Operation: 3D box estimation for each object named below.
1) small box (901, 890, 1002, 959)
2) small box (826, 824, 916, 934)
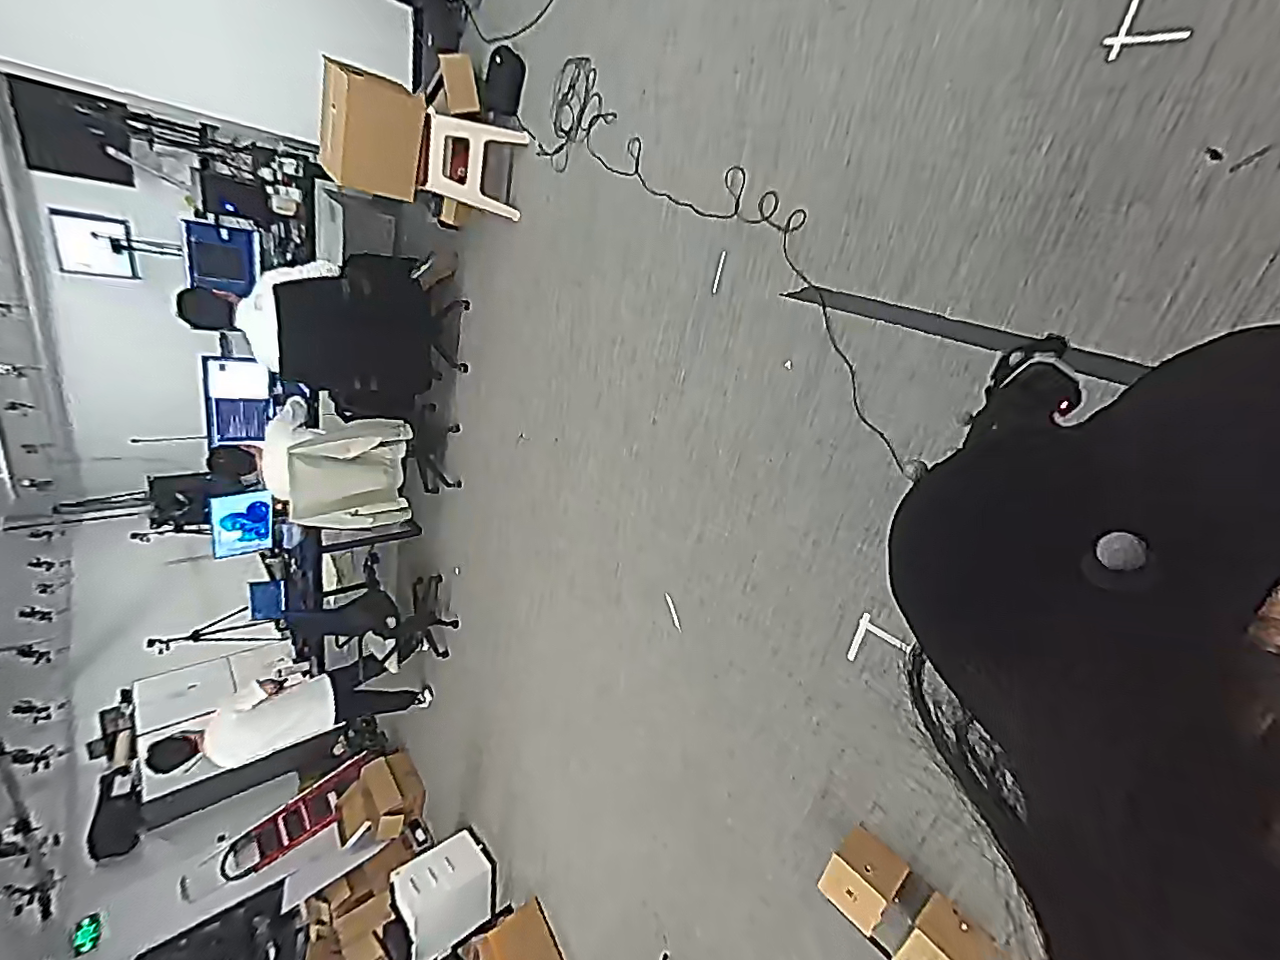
[{"bbox_3d":[0.867,1.305,1.501,0.168,0.176,0.179,34,120,38],"label":"small box"},{"bbox_3d":[0.711,1.211,1.655,0.179,0.176,0.168,31,117,41],"label":"small box"}]
